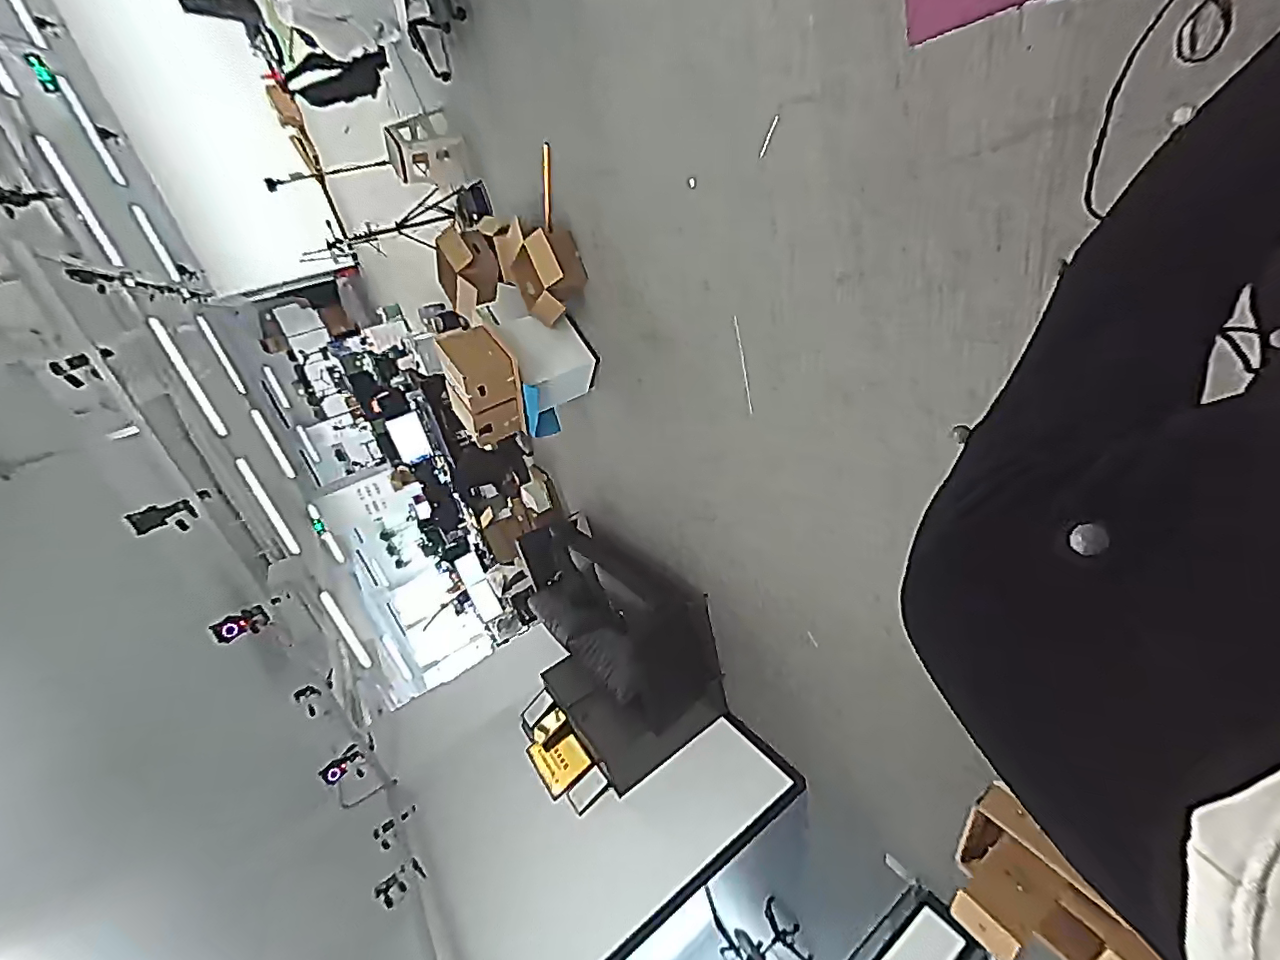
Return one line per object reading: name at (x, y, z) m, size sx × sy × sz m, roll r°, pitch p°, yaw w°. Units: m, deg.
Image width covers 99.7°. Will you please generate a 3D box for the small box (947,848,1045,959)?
small box at (1.029, 1.224, 1.564) m, size 0.168 × 0.176 × 0.179 m, roll 34°, pitch 142°, yaw 46°
